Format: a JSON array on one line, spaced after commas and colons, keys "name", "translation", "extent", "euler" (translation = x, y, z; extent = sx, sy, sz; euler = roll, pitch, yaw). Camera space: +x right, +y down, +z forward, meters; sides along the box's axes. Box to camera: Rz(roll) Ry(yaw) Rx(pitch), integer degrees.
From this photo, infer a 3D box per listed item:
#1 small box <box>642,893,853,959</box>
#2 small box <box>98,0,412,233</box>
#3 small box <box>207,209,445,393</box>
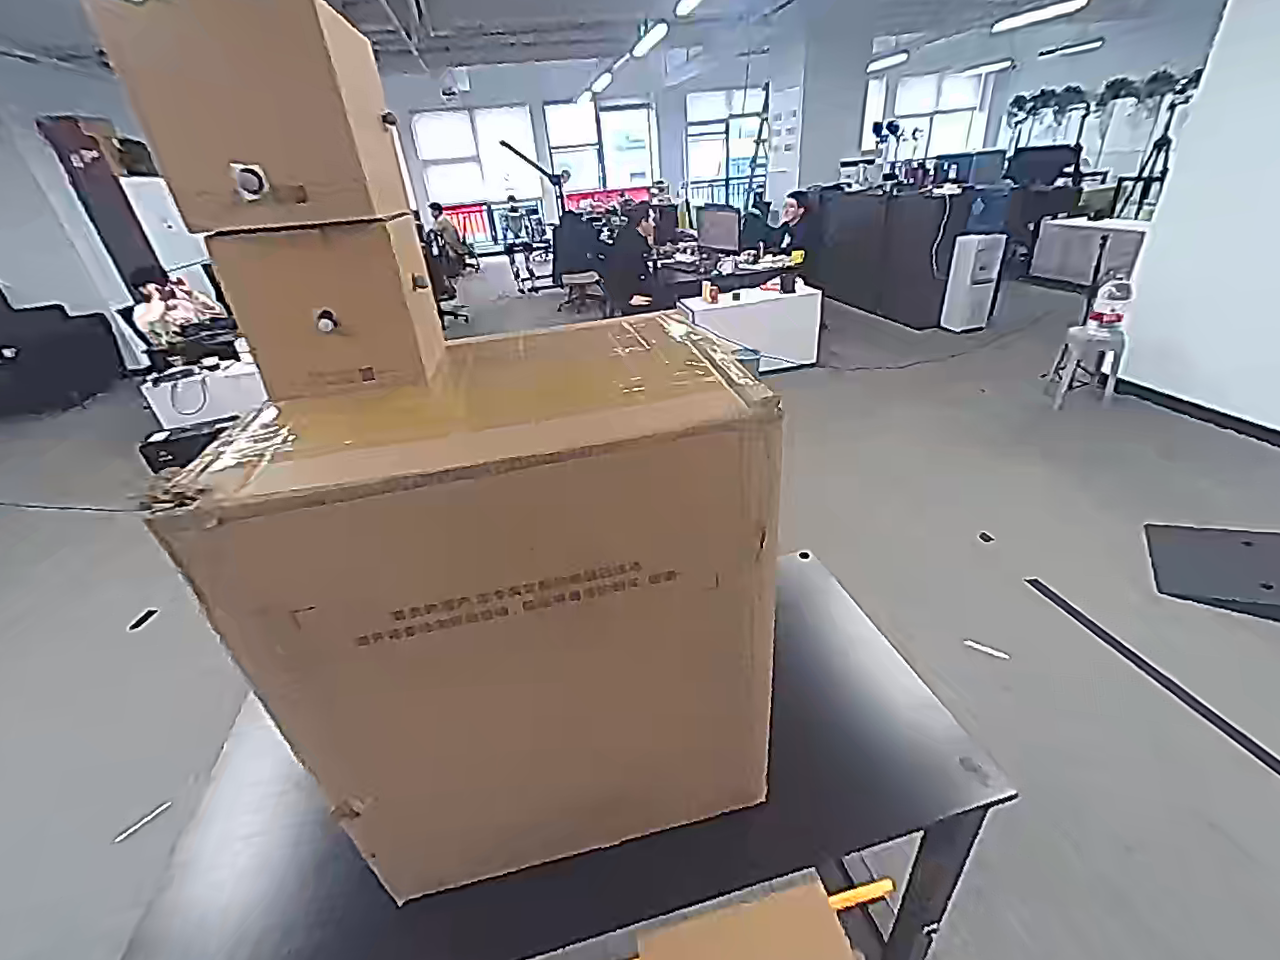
[{"name": "small box", "translation": [0.104, 0.476, 0.414], "extent": [0.168, 0.176, 0.179], "euler": [-12, 27, -6]}, {"name": "small box", "translation": [-0.337, -0.340, 0.524], "extent": [0.168, 0.176, 0.179], "euler": [-10, 30, -7]}, {"name": "small box", "translation": [-0.330, -0.204, 0.617], "extent": [0.168, 0.176, 0.179], "euler": [-9, 30, -9]}]
